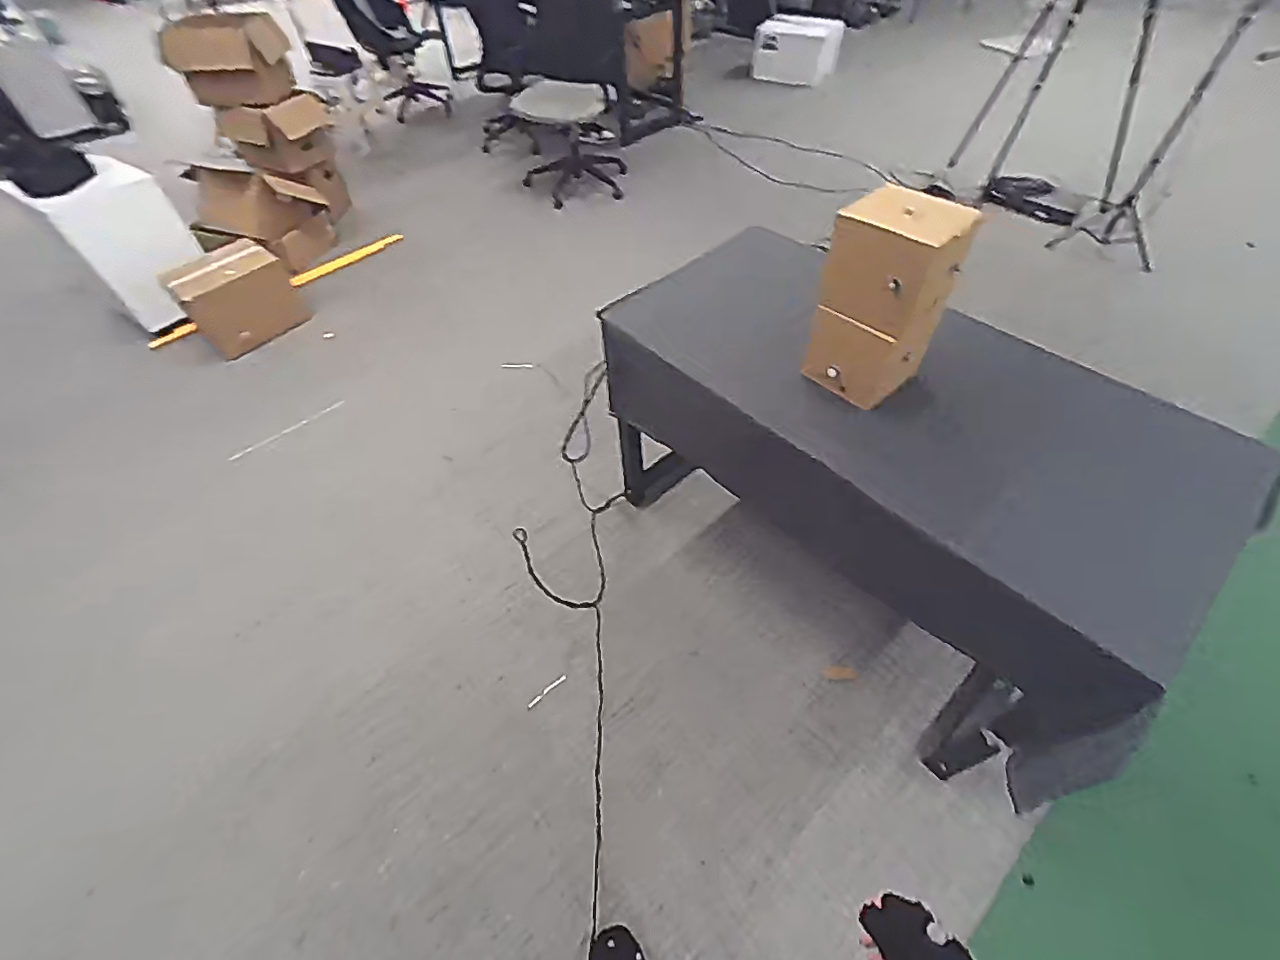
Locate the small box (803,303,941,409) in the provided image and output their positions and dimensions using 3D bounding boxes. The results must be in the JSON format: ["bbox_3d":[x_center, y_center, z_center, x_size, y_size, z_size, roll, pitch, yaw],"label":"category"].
[{"bbox_3d":[0.447,-0.274,1.071,0.179,0.176,0.168,-35,57,-23],"label":"small box"}]

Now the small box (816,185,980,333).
[{"bbox_3d":[0.441,-0.382,0.949,0.168,0.176,0.179,-36,57,-25],"label":"small box"}]
